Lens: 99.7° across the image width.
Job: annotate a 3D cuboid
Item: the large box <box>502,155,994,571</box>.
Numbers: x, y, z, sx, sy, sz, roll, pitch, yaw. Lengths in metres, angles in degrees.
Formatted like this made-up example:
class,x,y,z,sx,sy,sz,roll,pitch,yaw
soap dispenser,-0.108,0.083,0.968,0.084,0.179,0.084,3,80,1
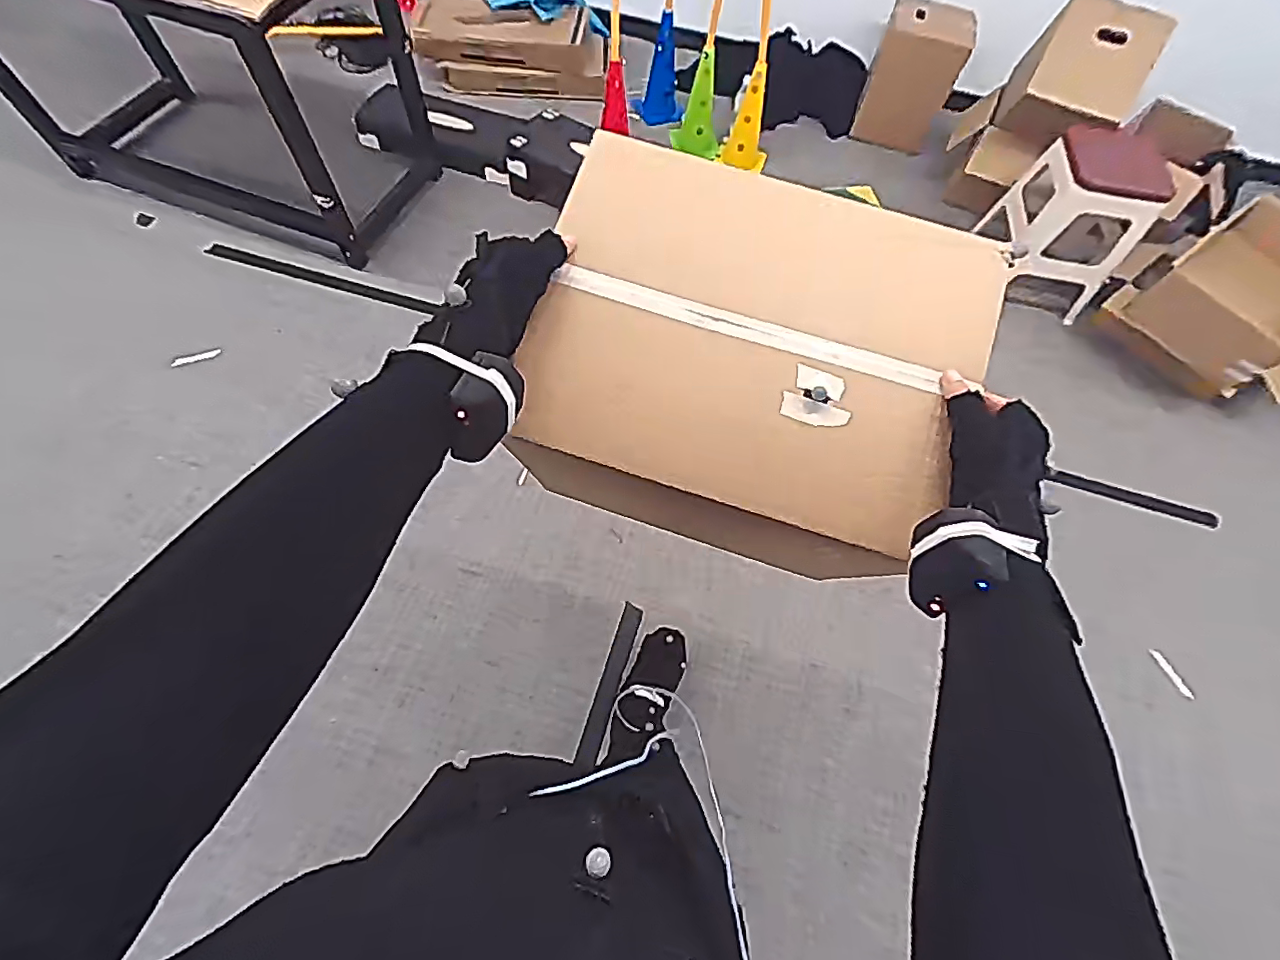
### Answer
class,x,y,z,sx,sy,sz,roll,pitch,yaw
large box,0.106,-0.101,0.647,0.408,0.320,0.320,18,80,4
